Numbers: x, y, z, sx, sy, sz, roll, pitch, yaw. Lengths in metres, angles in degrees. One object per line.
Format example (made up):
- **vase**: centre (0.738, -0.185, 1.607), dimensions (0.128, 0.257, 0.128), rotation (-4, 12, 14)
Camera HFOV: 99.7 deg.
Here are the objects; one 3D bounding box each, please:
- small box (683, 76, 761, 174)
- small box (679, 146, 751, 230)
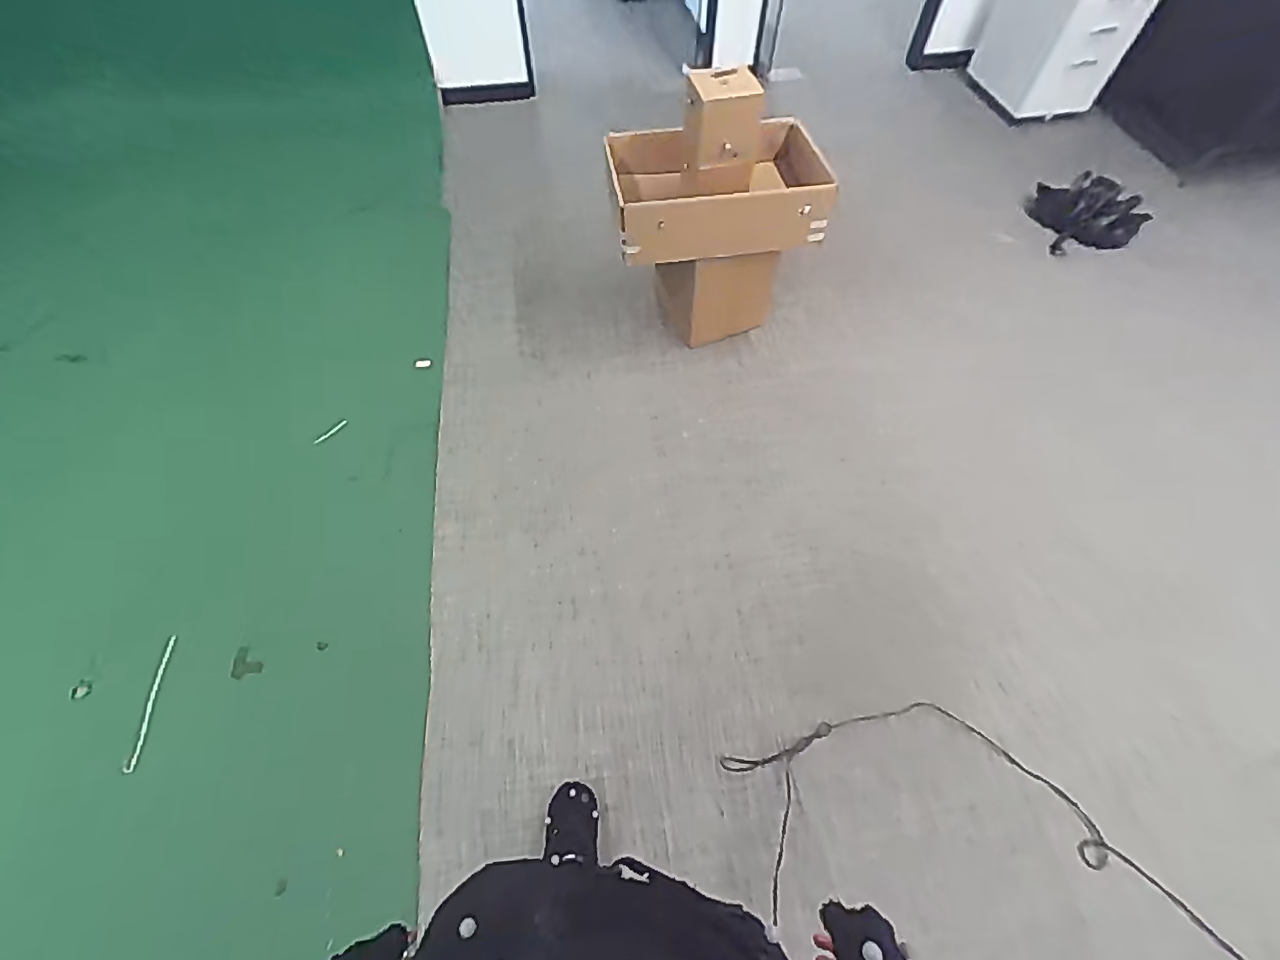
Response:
- **small box**: centre (0.217, -0.976, 1.490), dimensions (0.168, 0.176, 0.179), rotation (-11, 58, -5)
- **small box**: centre (0.218, -0.885, 1.626), dimensions (0.168, 0.176, 0.179), rotation (-12, 58, -7)
